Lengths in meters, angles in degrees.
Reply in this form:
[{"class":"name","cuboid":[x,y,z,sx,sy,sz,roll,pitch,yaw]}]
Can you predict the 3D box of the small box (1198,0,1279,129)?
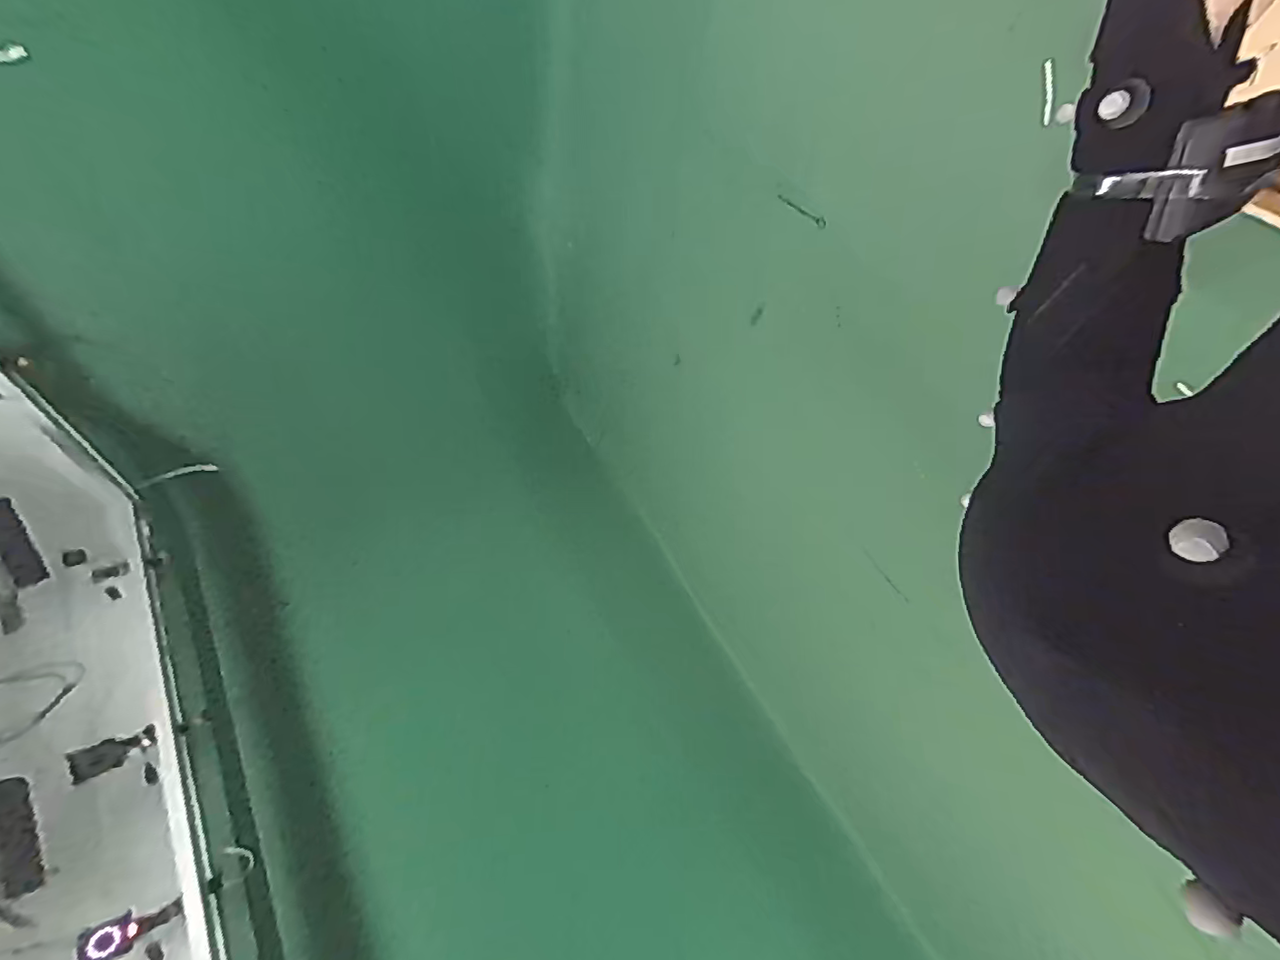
[{"class":"small box","cuboid":[0.999,-0.629,0.781,0.168,0.176,0.179,56,151,26]}]
